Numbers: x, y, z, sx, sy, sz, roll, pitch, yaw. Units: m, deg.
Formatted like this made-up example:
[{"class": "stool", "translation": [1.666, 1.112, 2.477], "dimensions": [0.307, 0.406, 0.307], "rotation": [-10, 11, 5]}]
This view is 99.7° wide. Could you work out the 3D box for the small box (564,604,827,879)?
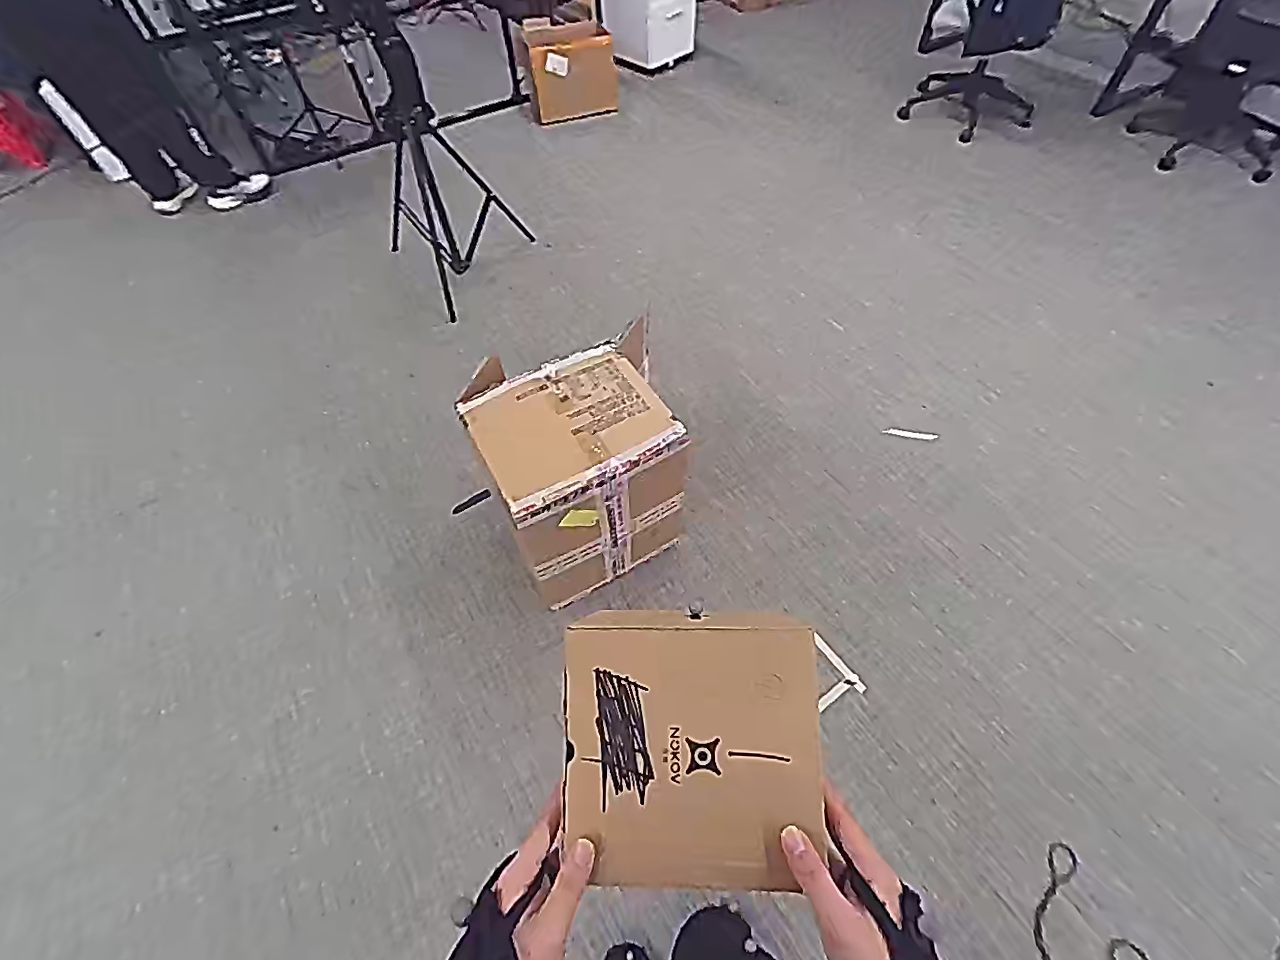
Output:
[{"class": "small box", "translation": [0.042, 0.193, 0.449], "dimensions": [0.179, 0.176, 0.168], "rotation": [-1, 80, 4]}]
